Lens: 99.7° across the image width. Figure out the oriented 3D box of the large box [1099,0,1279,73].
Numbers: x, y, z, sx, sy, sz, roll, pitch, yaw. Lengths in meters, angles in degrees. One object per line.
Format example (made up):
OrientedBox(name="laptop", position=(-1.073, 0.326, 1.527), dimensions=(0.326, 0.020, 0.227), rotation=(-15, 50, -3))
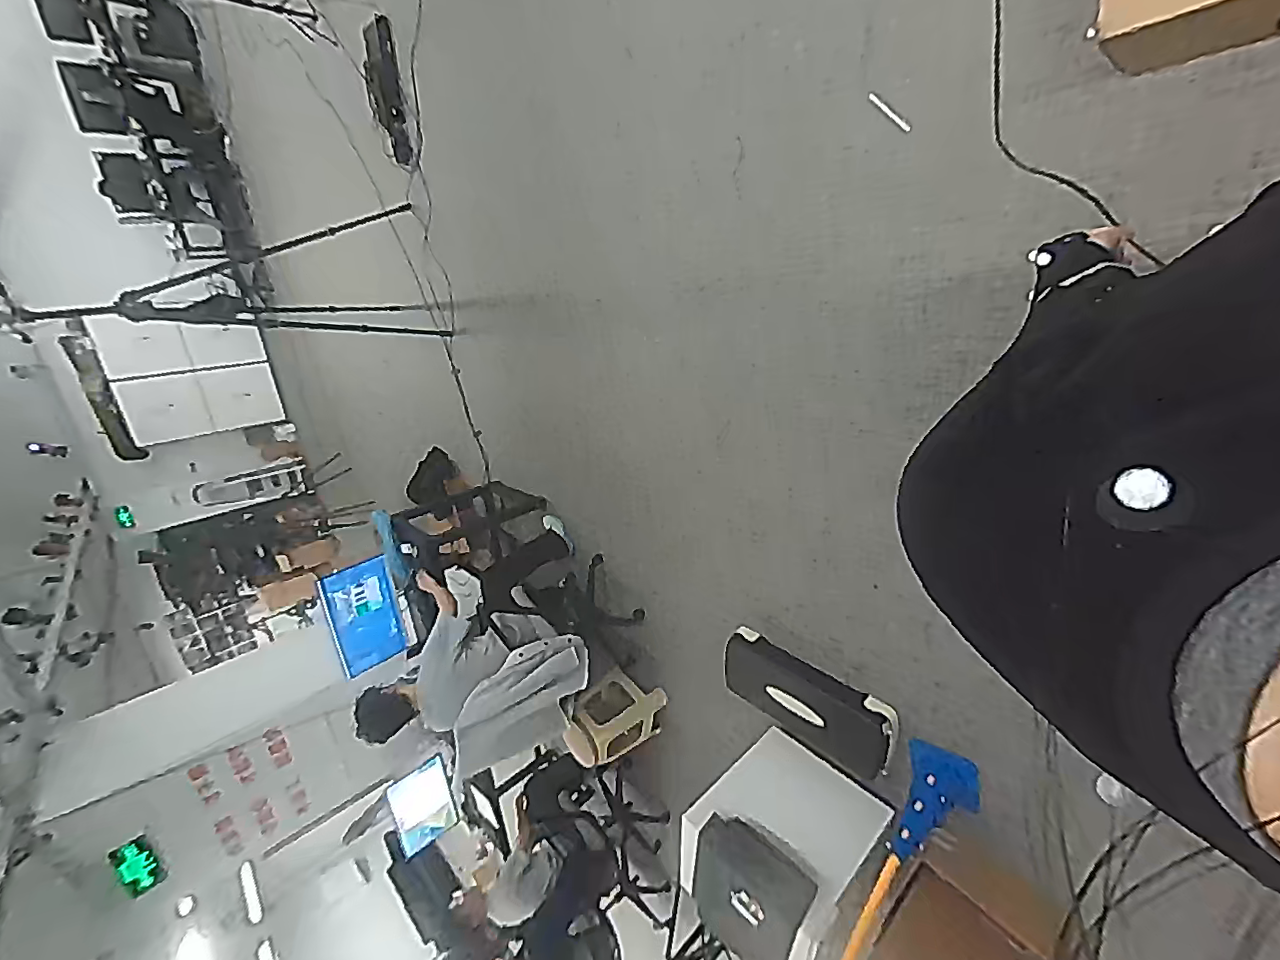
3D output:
OrientedBox(name="large box", position=(0.944, -0.835, 0.746), dimensions=(0.408, 0.320, 0.320), rotation=(14, 116, 46))
